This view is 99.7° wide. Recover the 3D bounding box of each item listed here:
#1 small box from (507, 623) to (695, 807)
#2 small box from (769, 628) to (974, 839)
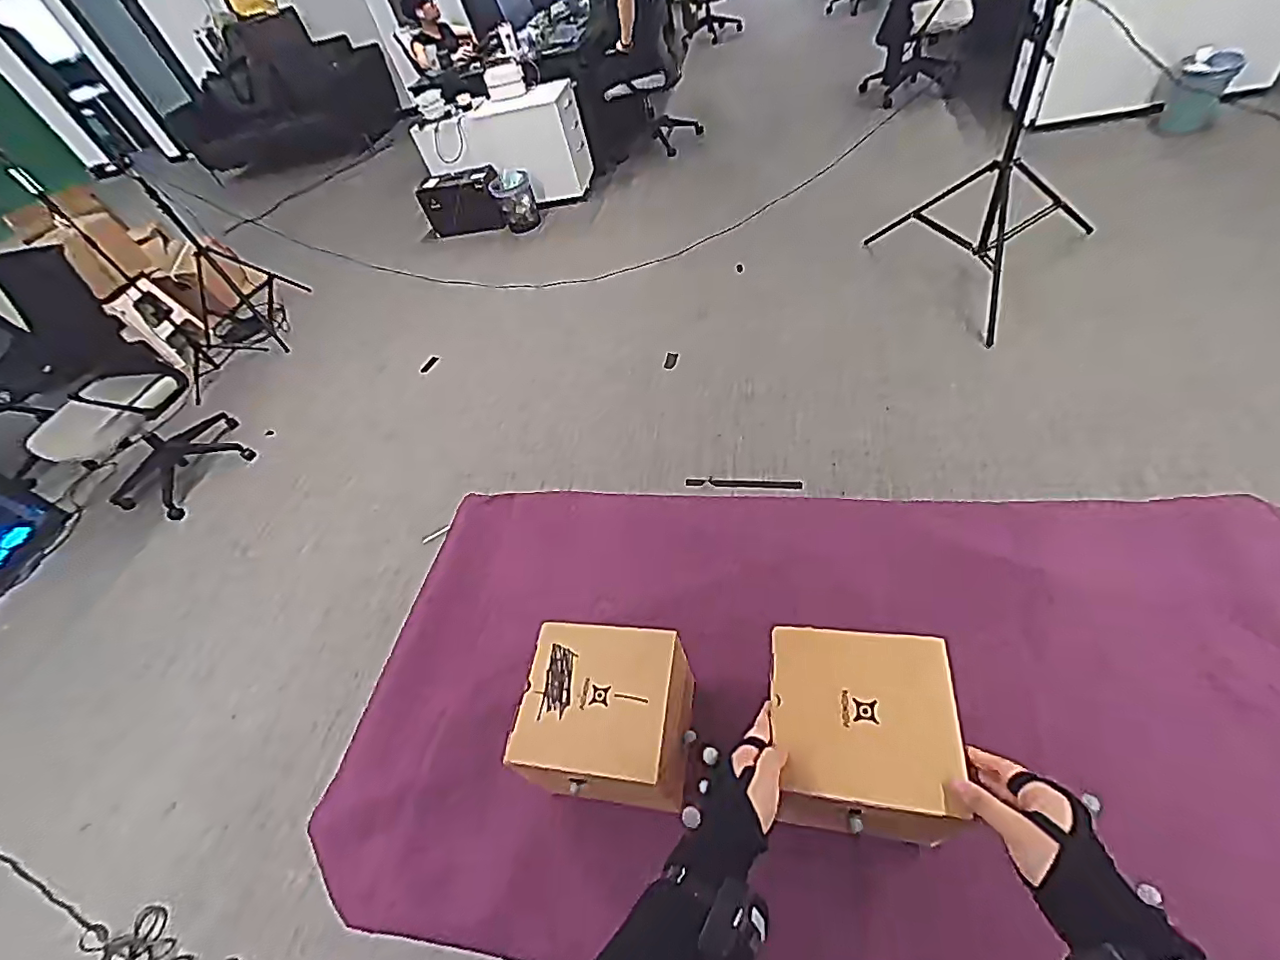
[{"bbox_3d":[-0.034,0.295,0.678,0.179,0.176,0.168,0,51,15],"label":"small box"},{"bbox_3d":[0.237,0.280,0.596,0.179,0.176,0.168,-1,51,17],"label":"small box"}]
